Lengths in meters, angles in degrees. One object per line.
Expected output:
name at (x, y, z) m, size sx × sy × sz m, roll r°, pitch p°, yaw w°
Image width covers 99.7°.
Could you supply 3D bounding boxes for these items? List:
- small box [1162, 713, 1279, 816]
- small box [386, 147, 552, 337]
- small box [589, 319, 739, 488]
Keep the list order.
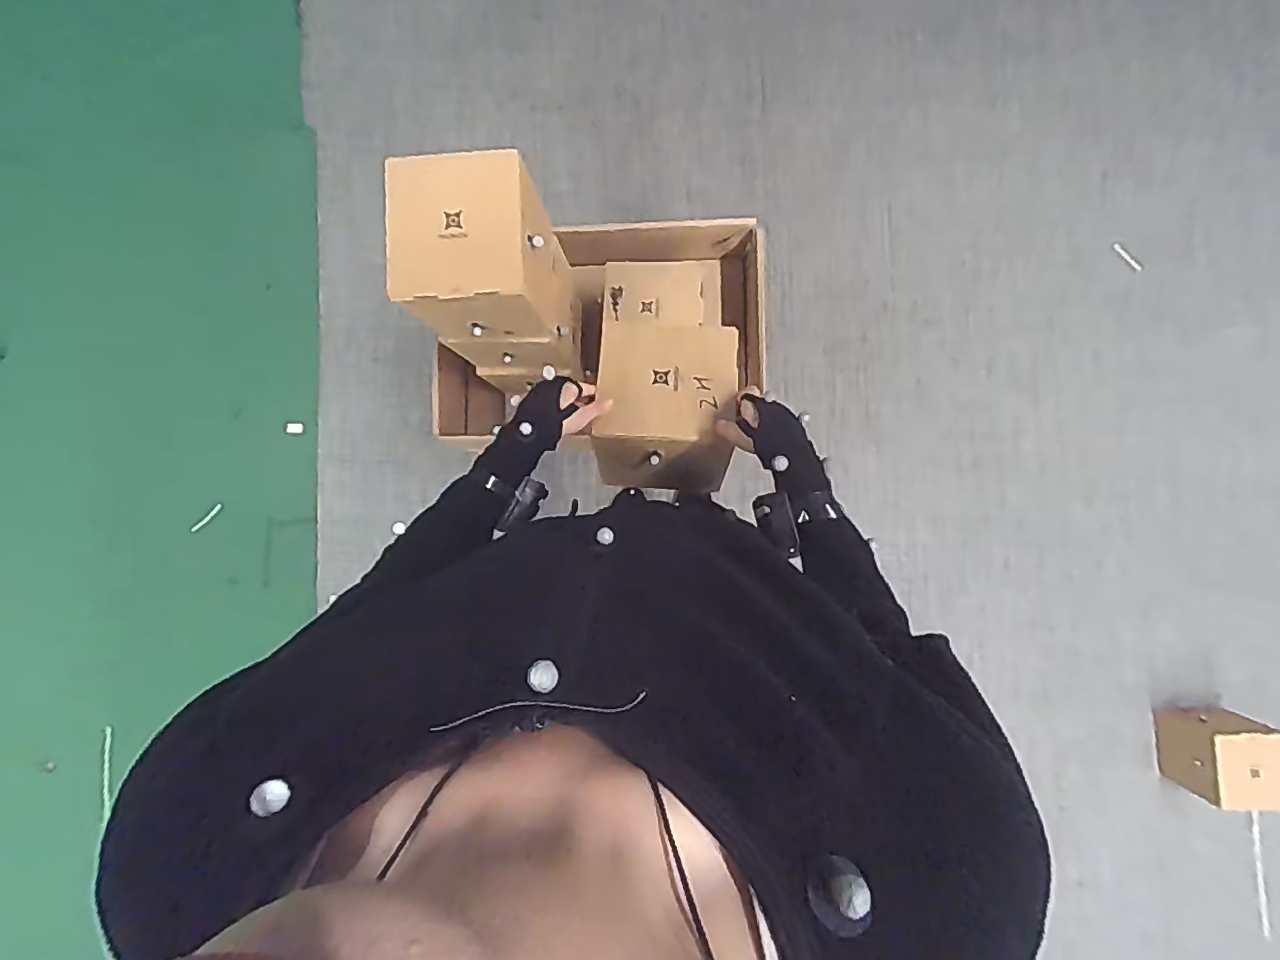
small box at (1.429, 0.682, 1.315) m, size 0.168 × 0.176 × 0.179 m, roll -3°, pitch 87°, yaw 4°
small box at (-0.216, -0.303, 0.720) m, size 0.168 × 0.176 × 0.179 m, roll -2°, pitch 88°, yaw 3°
small box at (0.034, -0.095, 0.731) m, size 0.179 × 0.176 × 0.168 m, roll 4°, pitch 69°, yaw 2°
